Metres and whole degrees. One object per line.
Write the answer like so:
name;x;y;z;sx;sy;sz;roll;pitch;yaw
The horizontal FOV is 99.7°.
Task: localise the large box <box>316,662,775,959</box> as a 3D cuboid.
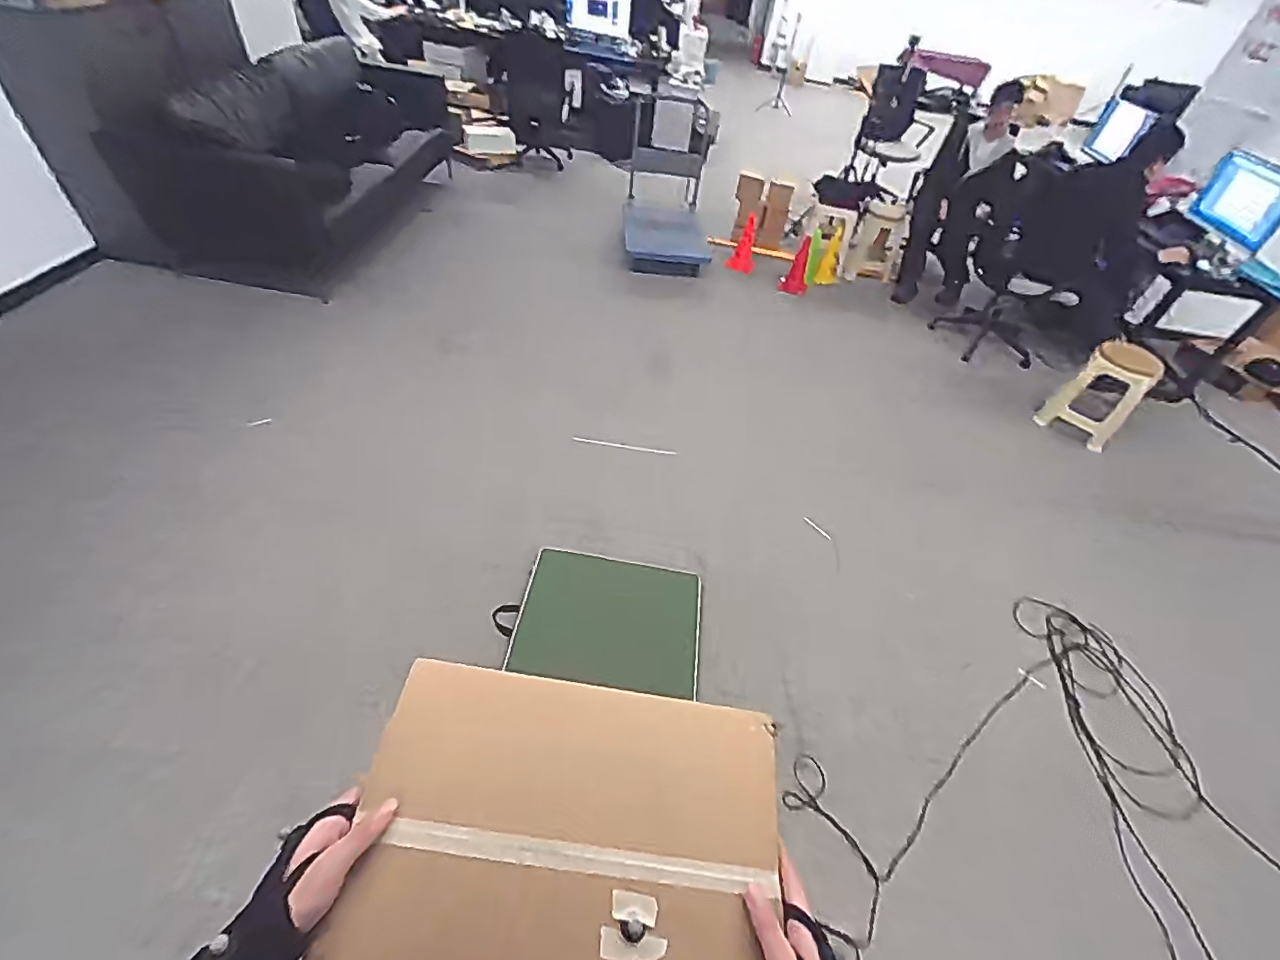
large box;-0.087;0.444;0.637;0.408;0.320;0.320;10;52;-2
